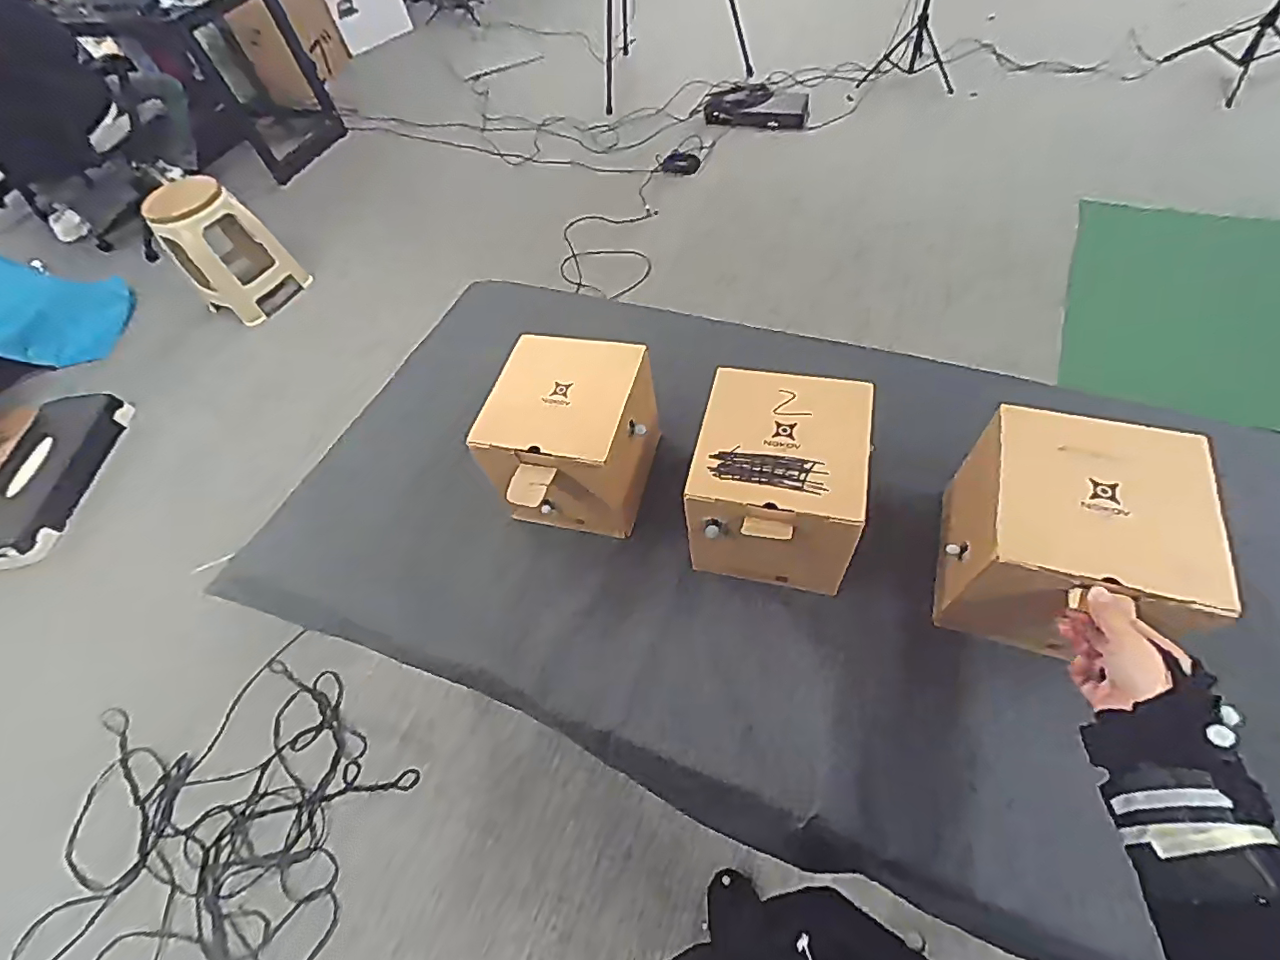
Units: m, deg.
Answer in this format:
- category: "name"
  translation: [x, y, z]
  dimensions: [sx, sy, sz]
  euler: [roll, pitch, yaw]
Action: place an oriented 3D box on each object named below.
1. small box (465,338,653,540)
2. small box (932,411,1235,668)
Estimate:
- category: "small box"
  translation: [-0.084, -0.049, 0.675]
  dimensions: [0.168, 0.176, 0.179]
  euler: [9, 59, 14]
- category: "small box"
  translation: [0.403, 0.063, 0.529]
  dimensions: [0.168, 0.176, 0.179]
  euler: [13, 59, 15]
